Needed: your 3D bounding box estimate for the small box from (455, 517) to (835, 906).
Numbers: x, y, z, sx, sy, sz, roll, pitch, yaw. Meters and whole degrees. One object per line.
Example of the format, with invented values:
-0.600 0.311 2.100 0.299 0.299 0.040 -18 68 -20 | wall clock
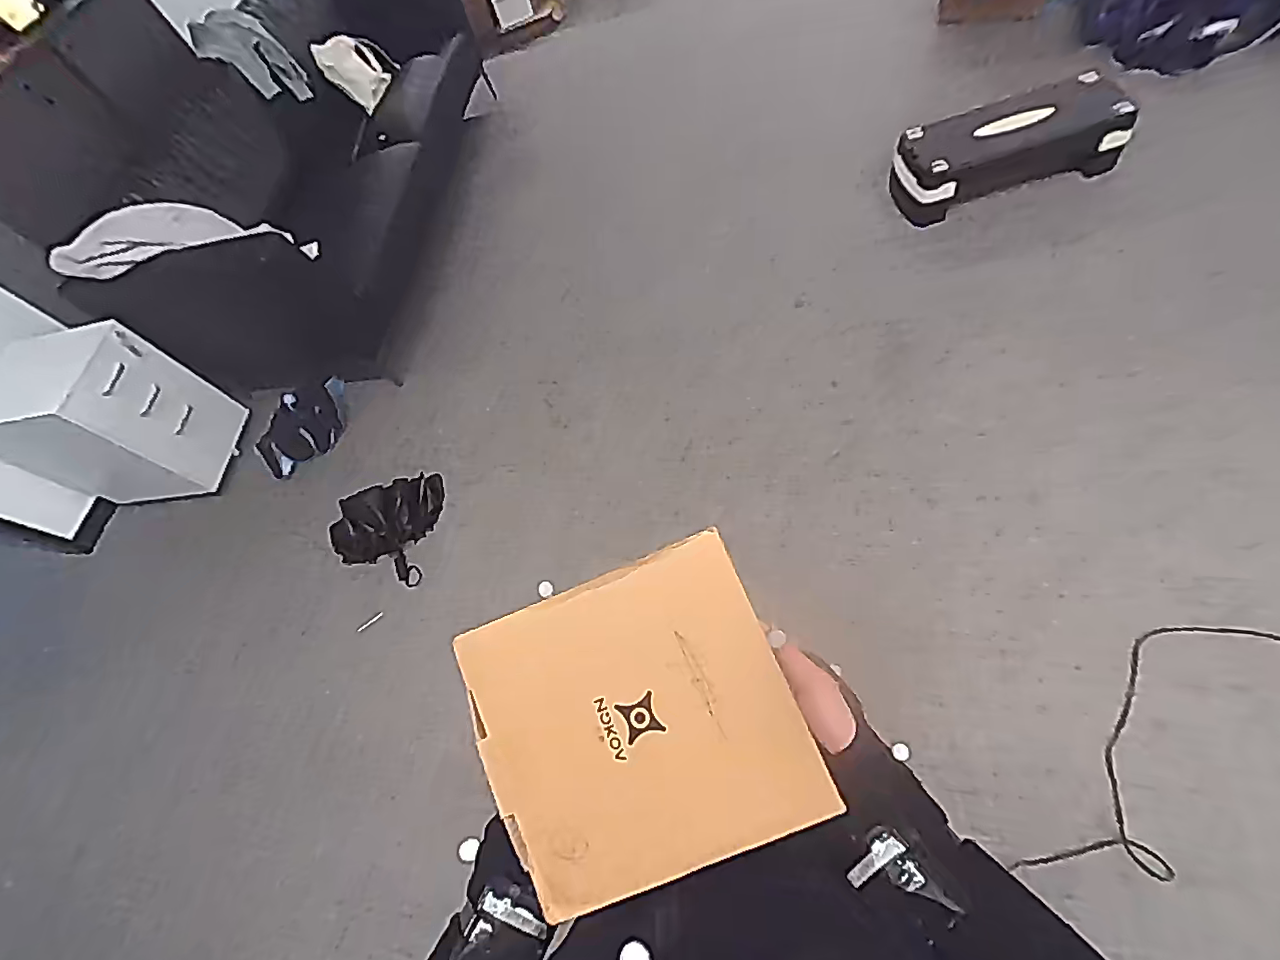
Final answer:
0.007 0.139 0.385 0.179 0.176 0.168 -25 81 3 | small box
